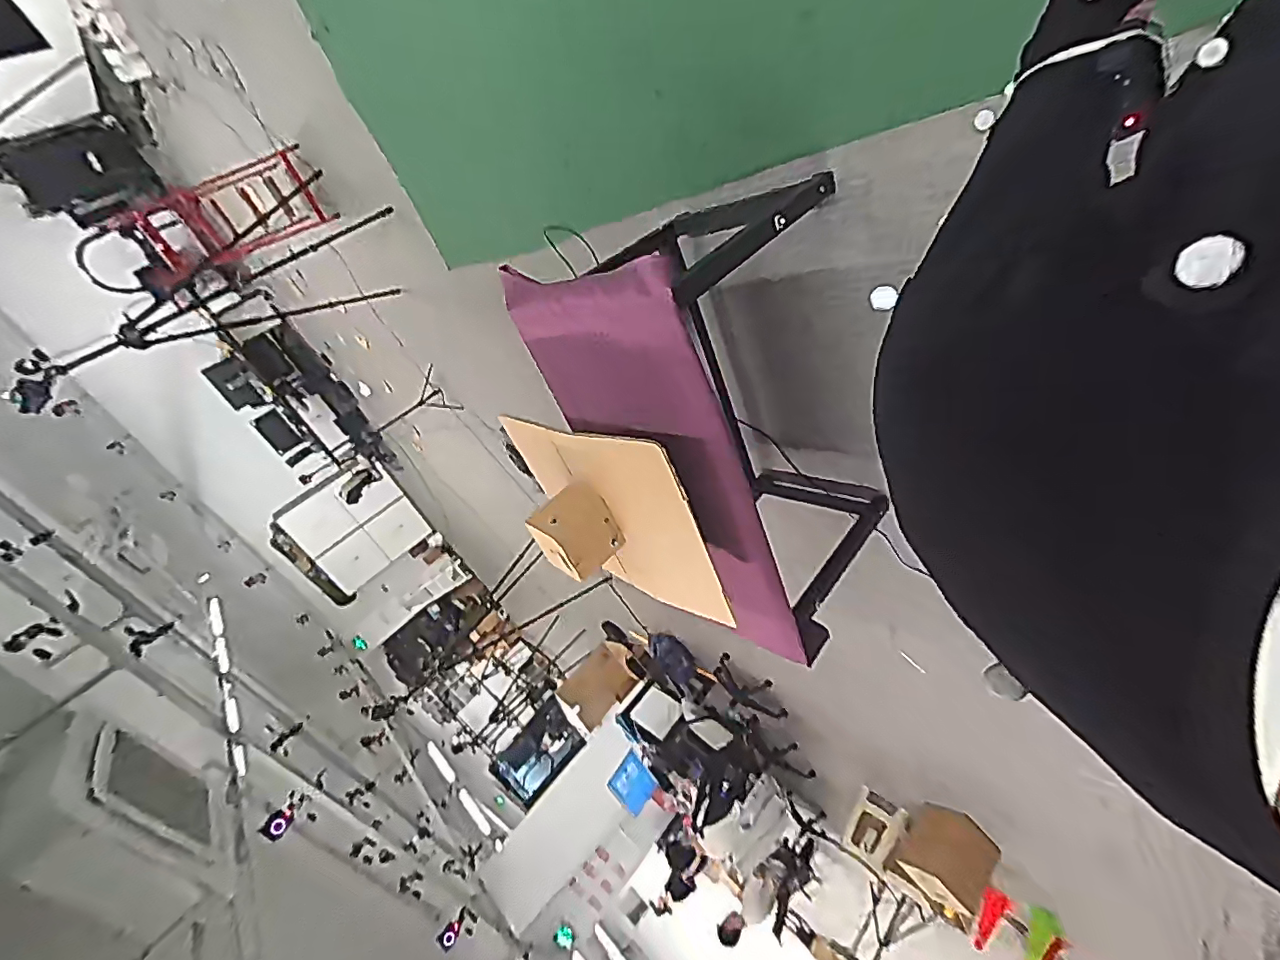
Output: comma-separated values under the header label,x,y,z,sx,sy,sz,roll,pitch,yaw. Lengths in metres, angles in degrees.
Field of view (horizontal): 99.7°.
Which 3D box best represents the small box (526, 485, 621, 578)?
label,x,y,z,sx,sy,sz,roll,pitch,yaw
small box,-0.173,0.133,1.483,0.179,0.176,0.168,19,142,48
